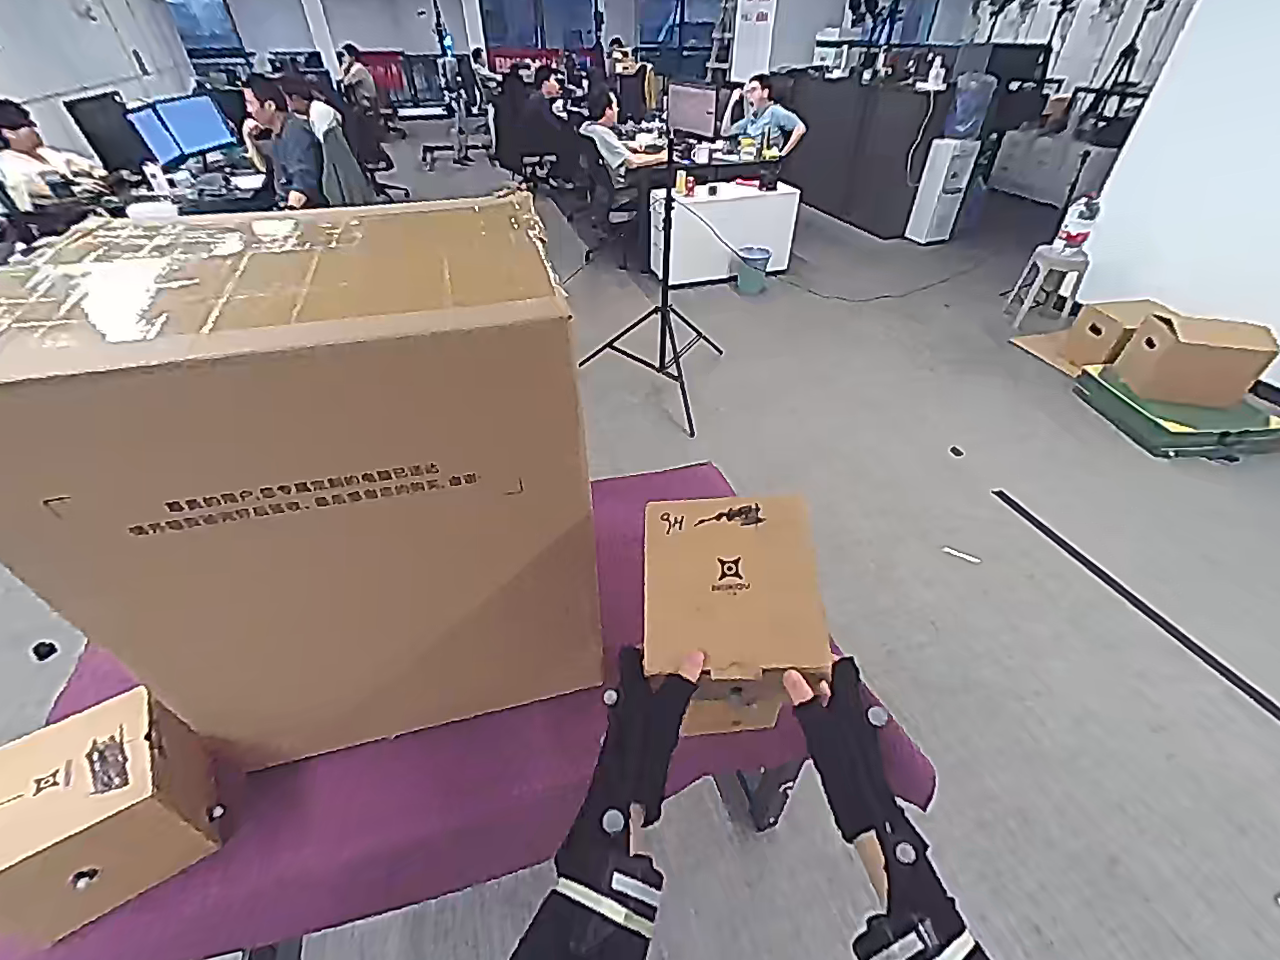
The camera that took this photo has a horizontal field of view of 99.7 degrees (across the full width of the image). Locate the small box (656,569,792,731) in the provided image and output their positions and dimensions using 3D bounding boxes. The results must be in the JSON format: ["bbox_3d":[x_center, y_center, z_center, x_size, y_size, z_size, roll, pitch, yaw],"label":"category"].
[{"bbox_3d":[0.115,0.261,0.823,0.168,0.176,0.179,-4,38,-5],"label":"small box"}]
